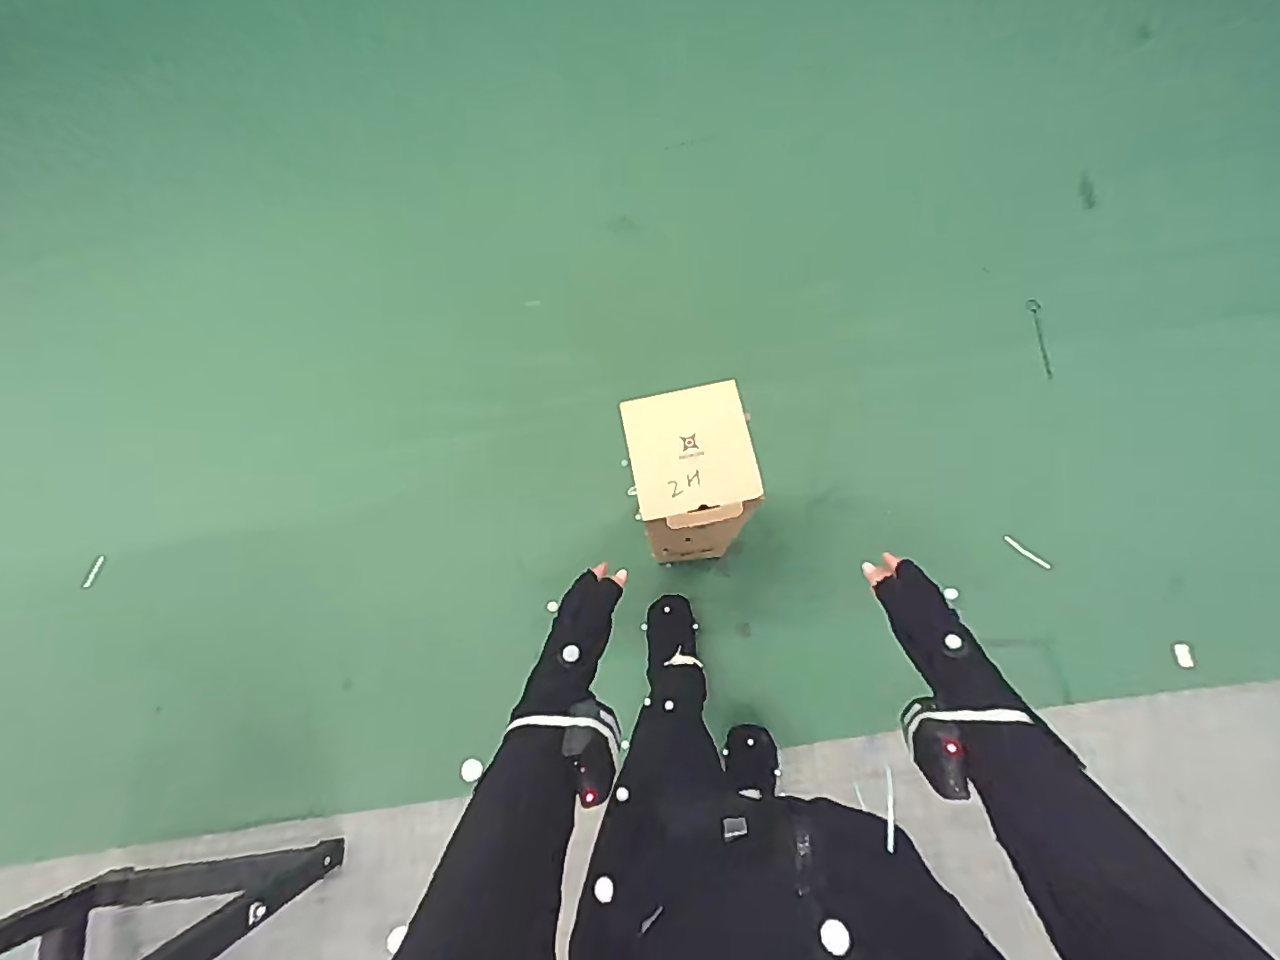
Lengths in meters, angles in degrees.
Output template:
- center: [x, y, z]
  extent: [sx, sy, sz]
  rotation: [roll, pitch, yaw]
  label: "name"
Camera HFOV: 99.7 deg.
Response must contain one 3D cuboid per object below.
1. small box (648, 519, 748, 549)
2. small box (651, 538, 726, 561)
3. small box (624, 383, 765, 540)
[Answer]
- center: [0.087, 0.017, 0.969]
  extent: [0.168, 0.176, 0.179]
  rotation: [-10, 76, 2]
  label: "small box"
- center: [0.109, 0.097, 1.286]
  extent: [0.168, 0.176, 0.179]
  rotation: [-8, 75, 3]
  label: "small box"
- center: [0.075, -0.020, 0.809]
  extent: [0.168, 0.176, 0.179]
  rotation: [-12, 76, 2]
  label: "small box"
